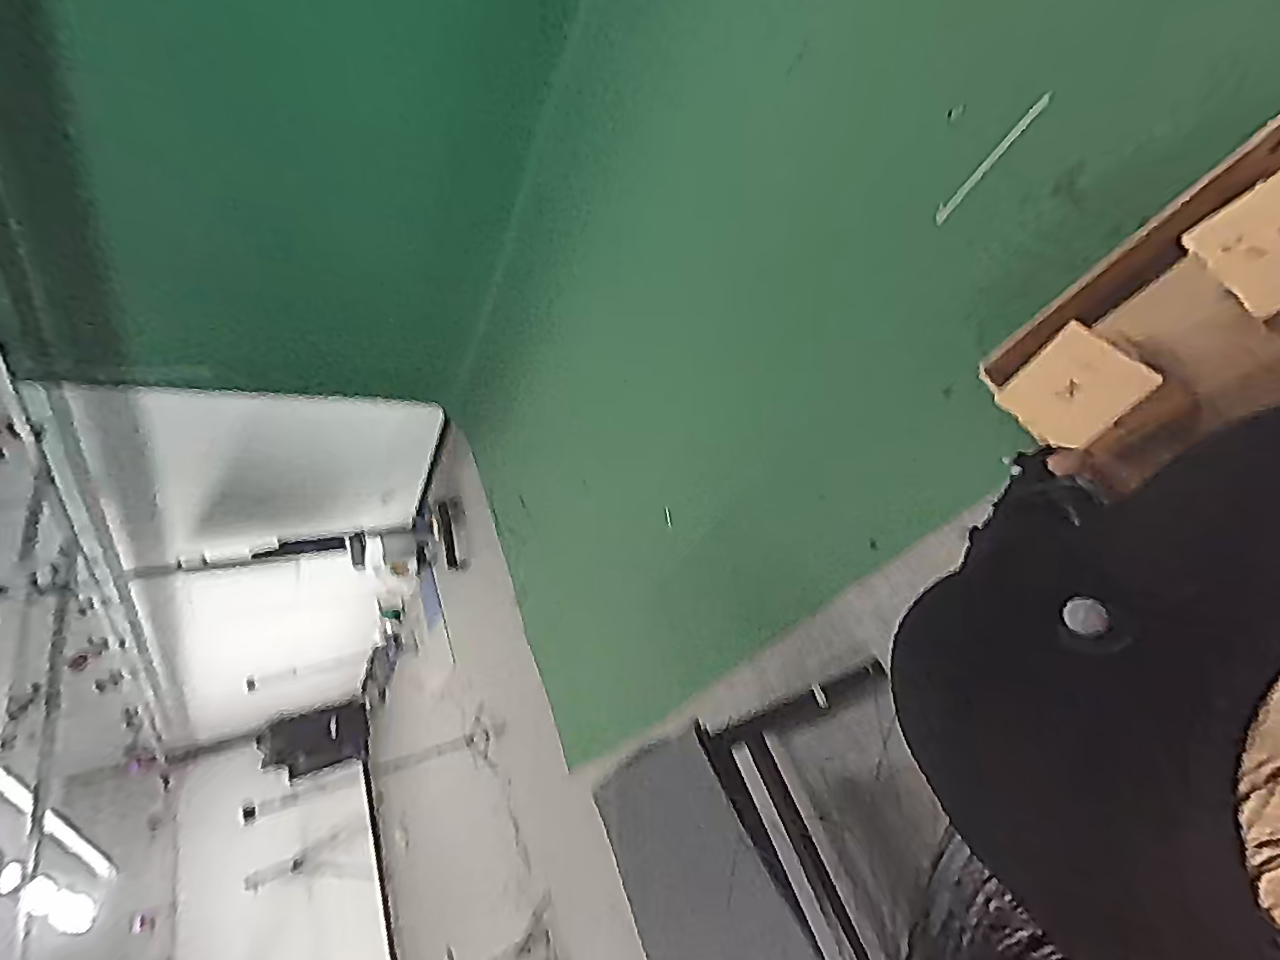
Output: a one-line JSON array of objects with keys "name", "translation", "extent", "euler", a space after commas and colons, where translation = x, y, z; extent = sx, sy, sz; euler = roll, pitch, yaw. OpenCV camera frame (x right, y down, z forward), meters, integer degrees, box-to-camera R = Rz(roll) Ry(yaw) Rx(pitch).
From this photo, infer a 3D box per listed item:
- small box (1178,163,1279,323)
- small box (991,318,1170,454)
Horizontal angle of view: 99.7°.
[{"name": "small box", "translation": [0.943, -0.350, 0.776], "extent": [0.179, 0.176, 0.168], "euler": [-44, 59, 46]}, {"name": "small box", "translation": [0.797, -0.163, 0.979], "extent": [0.168, 0.176, 0.179], "euler": [57, 131, 32]}]
